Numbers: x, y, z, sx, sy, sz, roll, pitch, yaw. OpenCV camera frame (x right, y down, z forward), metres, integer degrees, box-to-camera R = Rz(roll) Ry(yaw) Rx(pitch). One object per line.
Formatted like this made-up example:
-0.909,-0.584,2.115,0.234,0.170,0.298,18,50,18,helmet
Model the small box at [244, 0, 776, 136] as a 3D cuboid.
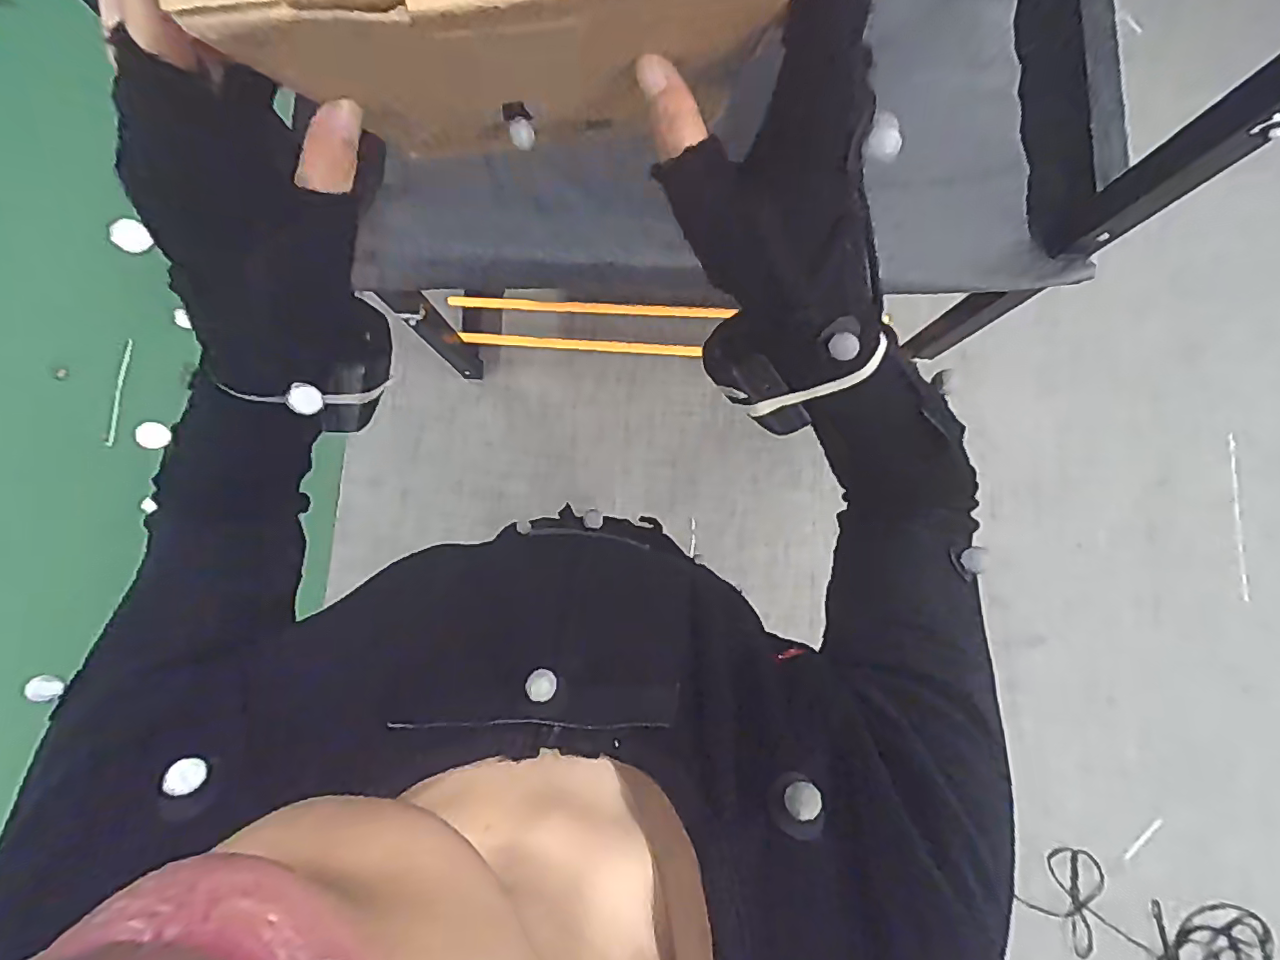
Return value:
-0.046,-0.236,0.173,0.168,0.176,0.179,-6,112,1,small box
